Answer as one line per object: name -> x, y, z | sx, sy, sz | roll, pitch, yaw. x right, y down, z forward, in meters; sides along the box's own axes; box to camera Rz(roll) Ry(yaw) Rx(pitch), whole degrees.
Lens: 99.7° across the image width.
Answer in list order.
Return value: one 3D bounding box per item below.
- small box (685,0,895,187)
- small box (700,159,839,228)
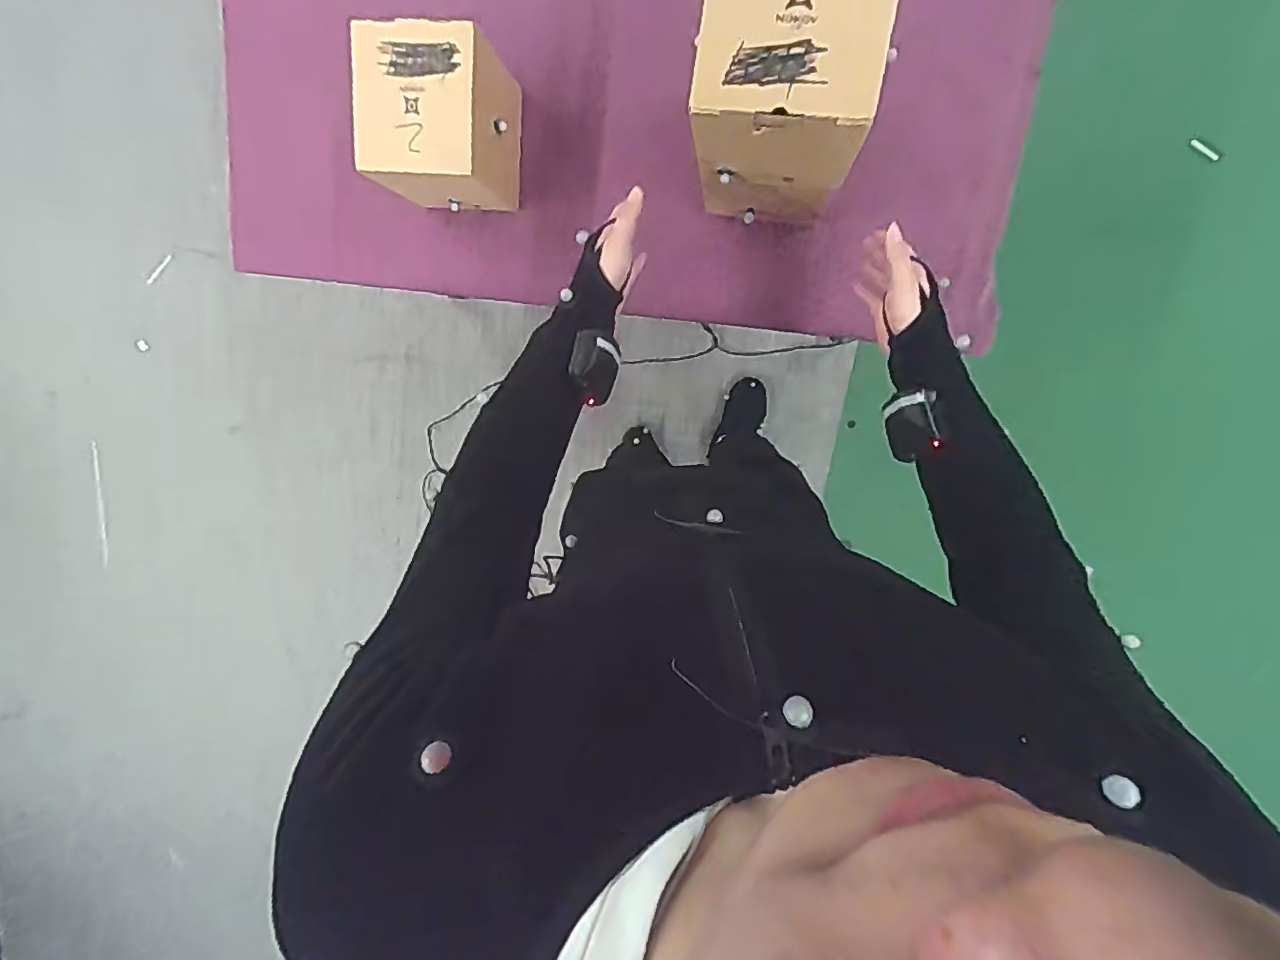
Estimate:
small box -> 0.148, -0.417, 0.539 | 0.168, 0.176, 0.179 | 10, 100, 9
small box -> 0.177, -0.449, 0.698 | 0.168, 0.176, 0.179 | 11, 102, 9
